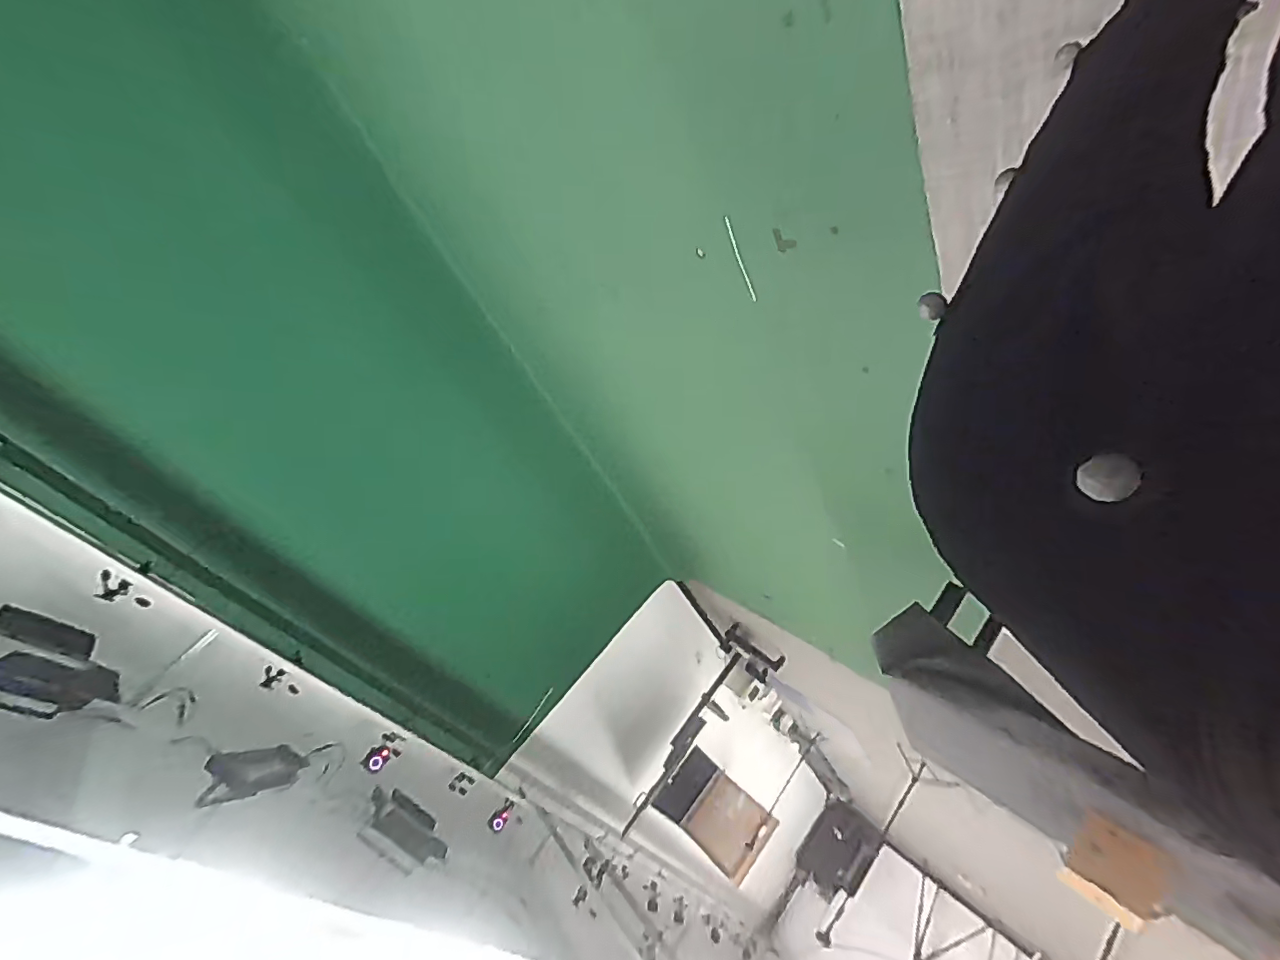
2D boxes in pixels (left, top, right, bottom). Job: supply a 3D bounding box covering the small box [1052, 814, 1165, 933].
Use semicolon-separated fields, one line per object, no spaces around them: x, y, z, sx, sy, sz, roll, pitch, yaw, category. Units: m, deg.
1.173;0.981;1.358;0.168;0.176;0.179;26;156;46;small box
